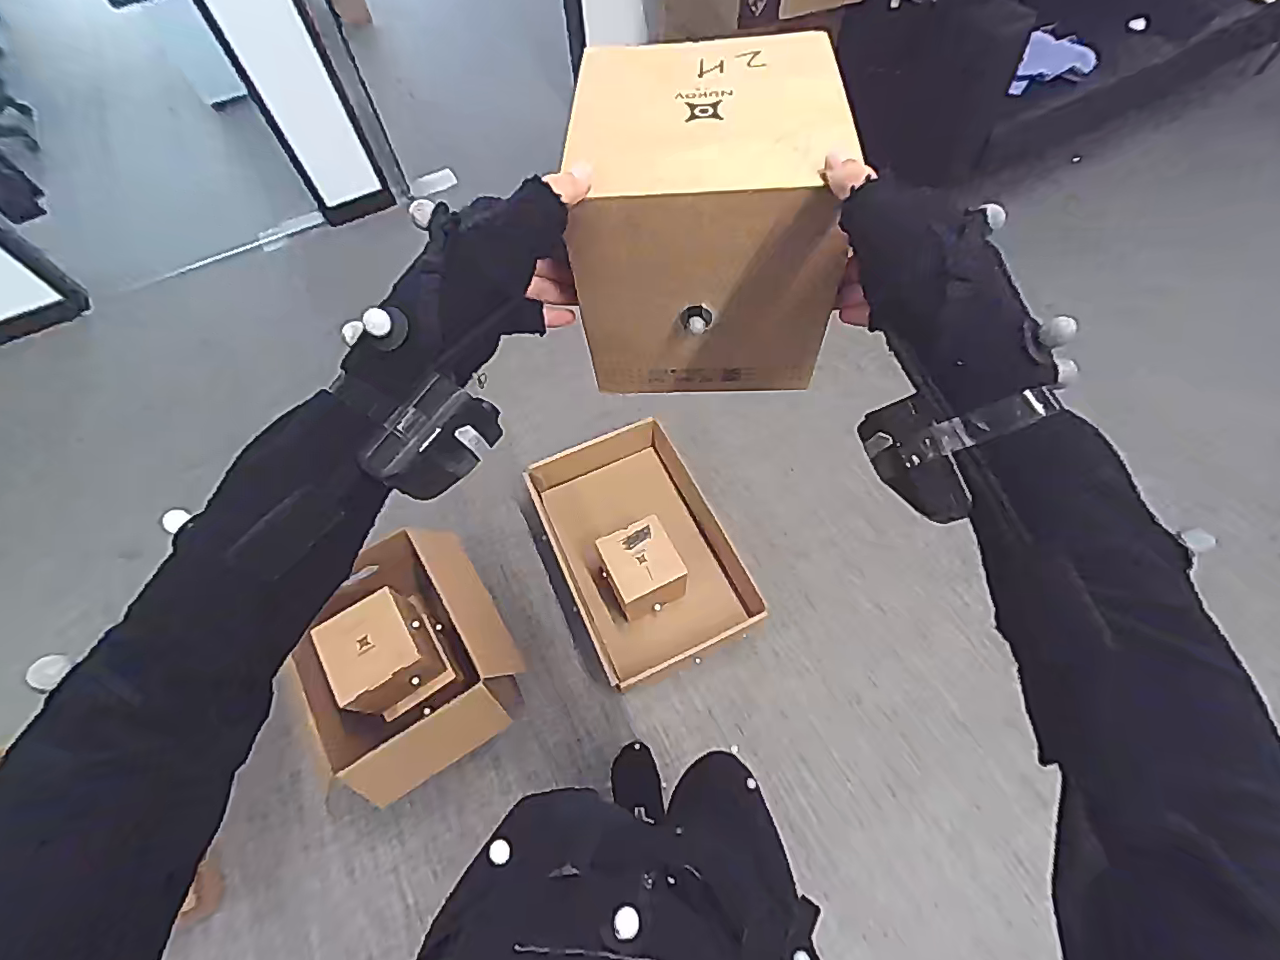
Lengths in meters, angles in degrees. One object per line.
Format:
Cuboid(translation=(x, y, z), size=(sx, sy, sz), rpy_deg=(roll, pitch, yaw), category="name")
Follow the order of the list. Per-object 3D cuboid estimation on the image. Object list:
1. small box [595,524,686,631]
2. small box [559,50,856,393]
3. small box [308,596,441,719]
Cuboid(translation=(0.000, 0.244, 1.337), size=(0.168, 0.176, 0.179), rpy_deg=(-24, 62, -12), category="small box")
Cuboid(translation=(0.046, -0.179, 0.404), size=(0.168, 0.176, 0.179), rpy_deg=(0, 59, 5), category="small box")
Cuboid(translation=(-0.543, 0.376, 1.126), size=(0.168, 0.176, 0.179), rpy_deg=(-30, 65, -15), category="small box")
